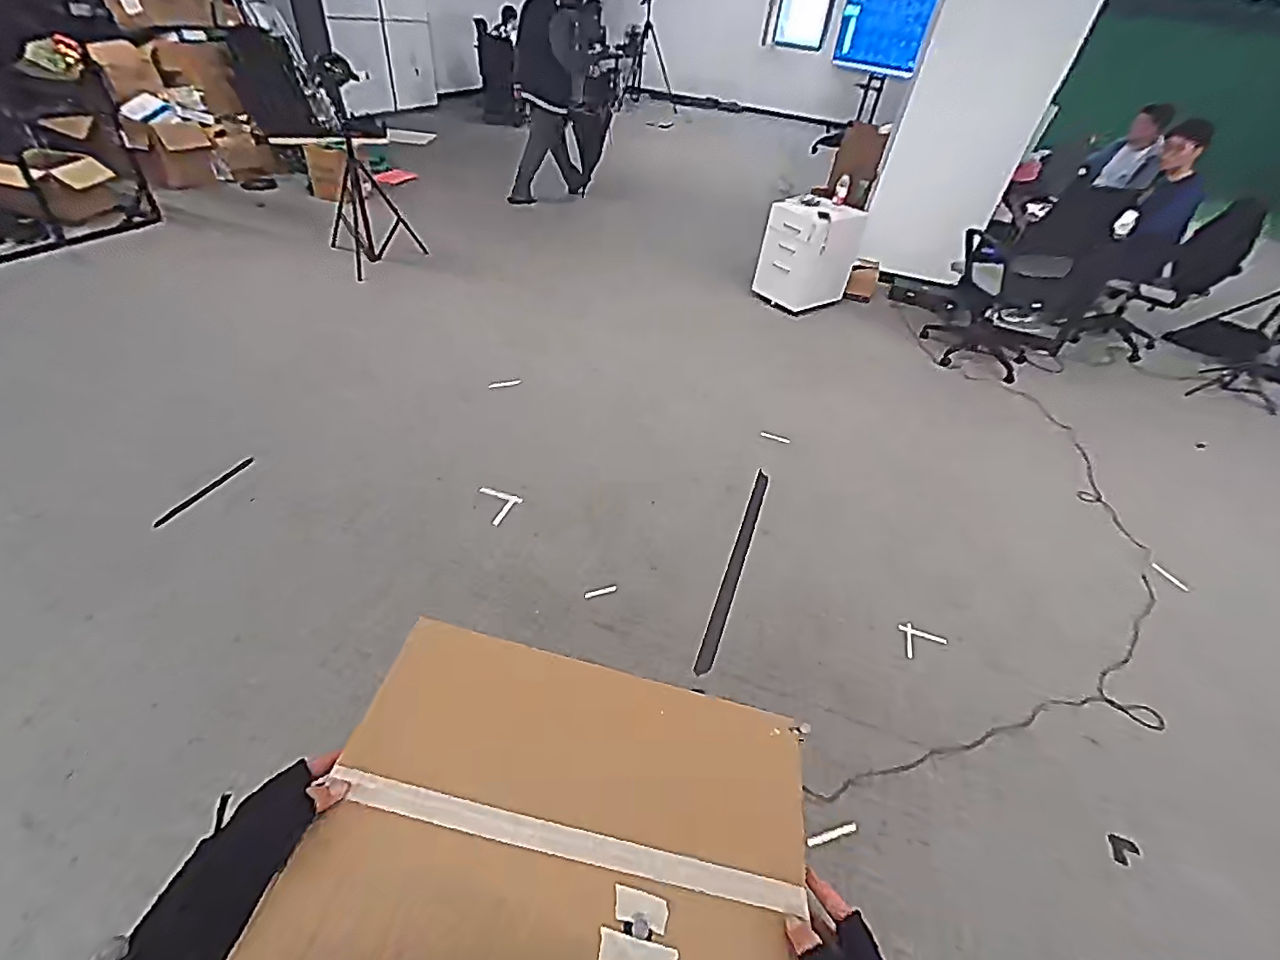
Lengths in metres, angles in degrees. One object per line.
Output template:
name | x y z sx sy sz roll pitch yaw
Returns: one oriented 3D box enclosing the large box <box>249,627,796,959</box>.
large box | -0.091 0.406 0.560 0.408 0.320 0.320 15 43 -1
